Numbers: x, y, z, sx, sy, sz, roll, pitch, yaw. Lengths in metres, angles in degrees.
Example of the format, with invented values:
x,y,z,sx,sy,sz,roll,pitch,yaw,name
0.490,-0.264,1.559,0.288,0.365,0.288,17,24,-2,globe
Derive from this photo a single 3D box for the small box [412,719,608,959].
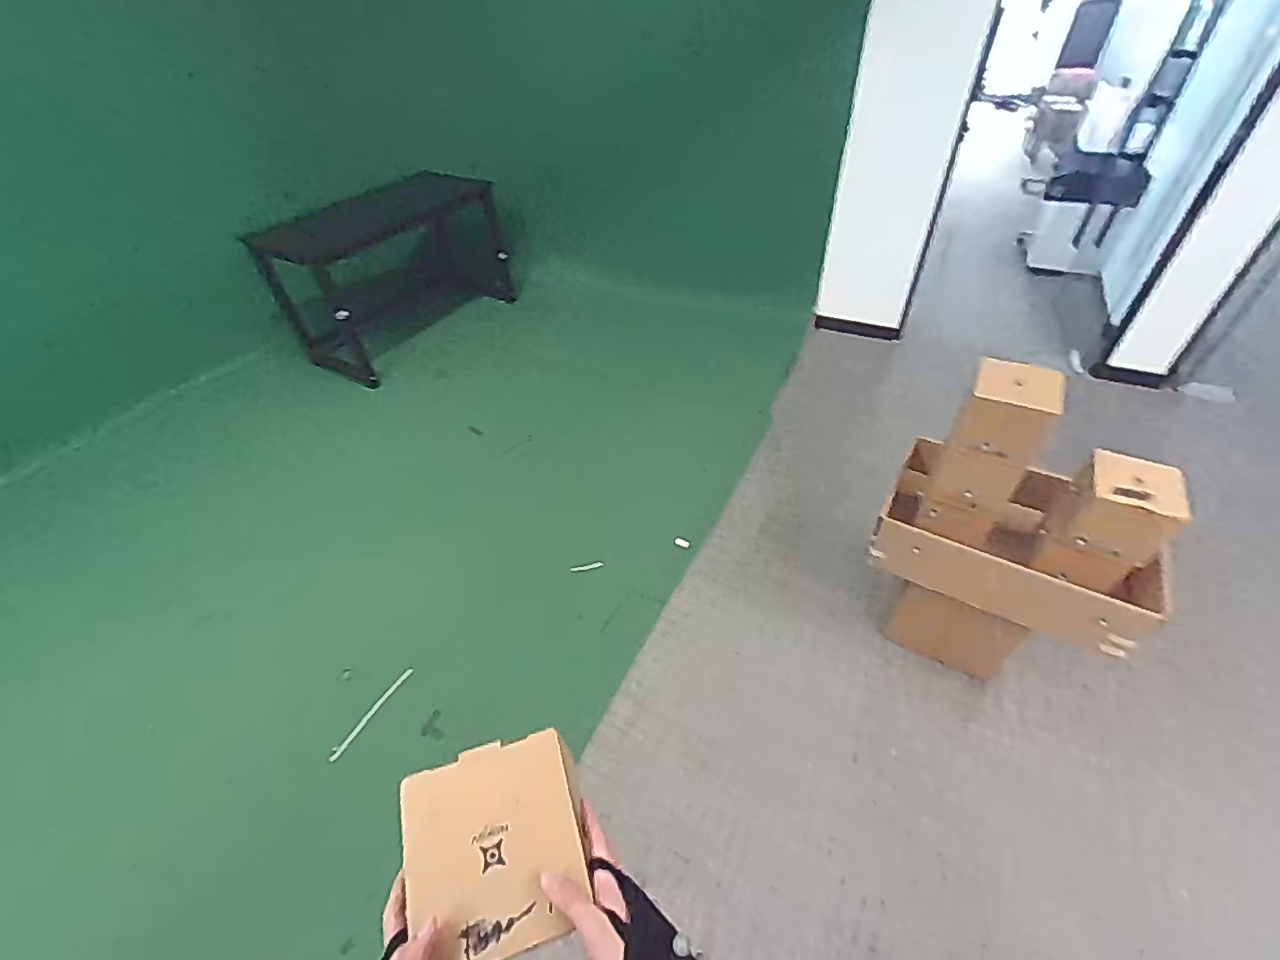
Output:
x,y,z,sx,sy,sz,roll,pitch,yaw,name
-0.135,0.390,0.585,0.168,0.176,0.179,-14,54,-10,small box

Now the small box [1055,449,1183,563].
x,y,z,sx,sy,sz,roll,pitch,yaw,name
1.099,0.062,1.254,0.168,0.176,0.179,20,49,22,small box

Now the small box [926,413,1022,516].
x,y,z,sx,sy,sz,roll,pitch,yaw,name
0.850,-0.042,1.376,0.168,0.176,0.179,20,49,23,small box

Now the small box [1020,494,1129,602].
x,y,z,sx,sy,sz,roll,pitch,yaw,name
1.104,0.172,1.376,0.168,0.176,0.179,24,51,25,small box

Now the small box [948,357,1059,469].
x,y,z,sx,sy,sz,roll,pitch,yaw,name
0.842,-0.158,1.261,0.168,0.176,0.179,20,49,24,small box
